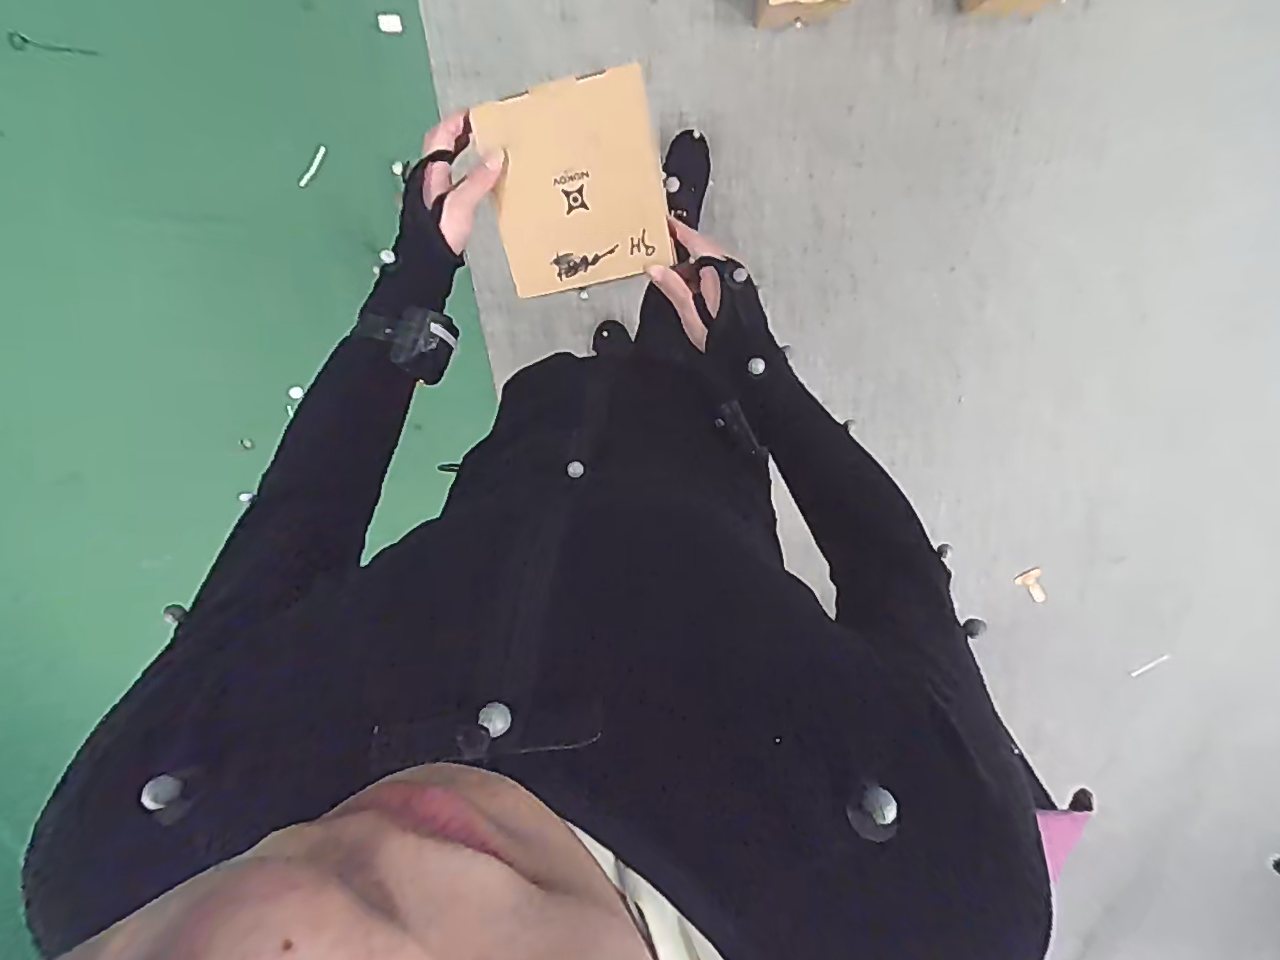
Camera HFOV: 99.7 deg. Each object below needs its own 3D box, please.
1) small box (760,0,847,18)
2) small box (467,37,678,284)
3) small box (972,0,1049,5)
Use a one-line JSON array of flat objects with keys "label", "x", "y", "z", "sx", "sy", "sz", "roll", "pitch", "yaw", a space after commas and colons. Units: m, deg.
[{"label": "small box", "x": 0.326, "y": -1.018, "z": 1.029, "sx": 0.168, "sy": 0.176, "sz": 0.179, "roll": -1, "pitch": 118, "yaw": 4}, {"label": "small box", "x": -0.055, "y": -0.315, "z": 0.576, "sx": 0.168, "sy": 0.176, "sz": 0.179, "roll": -10, "pitch": 109, "yaw": 9}, {"label": "small box", "x": 0.760, "y": -1.017, "z": 1.009, "sx": 0.179, "sy": 0.176, "sz": 0.168, "roll": -1, "pitch": 118, "yaw": 3}]
